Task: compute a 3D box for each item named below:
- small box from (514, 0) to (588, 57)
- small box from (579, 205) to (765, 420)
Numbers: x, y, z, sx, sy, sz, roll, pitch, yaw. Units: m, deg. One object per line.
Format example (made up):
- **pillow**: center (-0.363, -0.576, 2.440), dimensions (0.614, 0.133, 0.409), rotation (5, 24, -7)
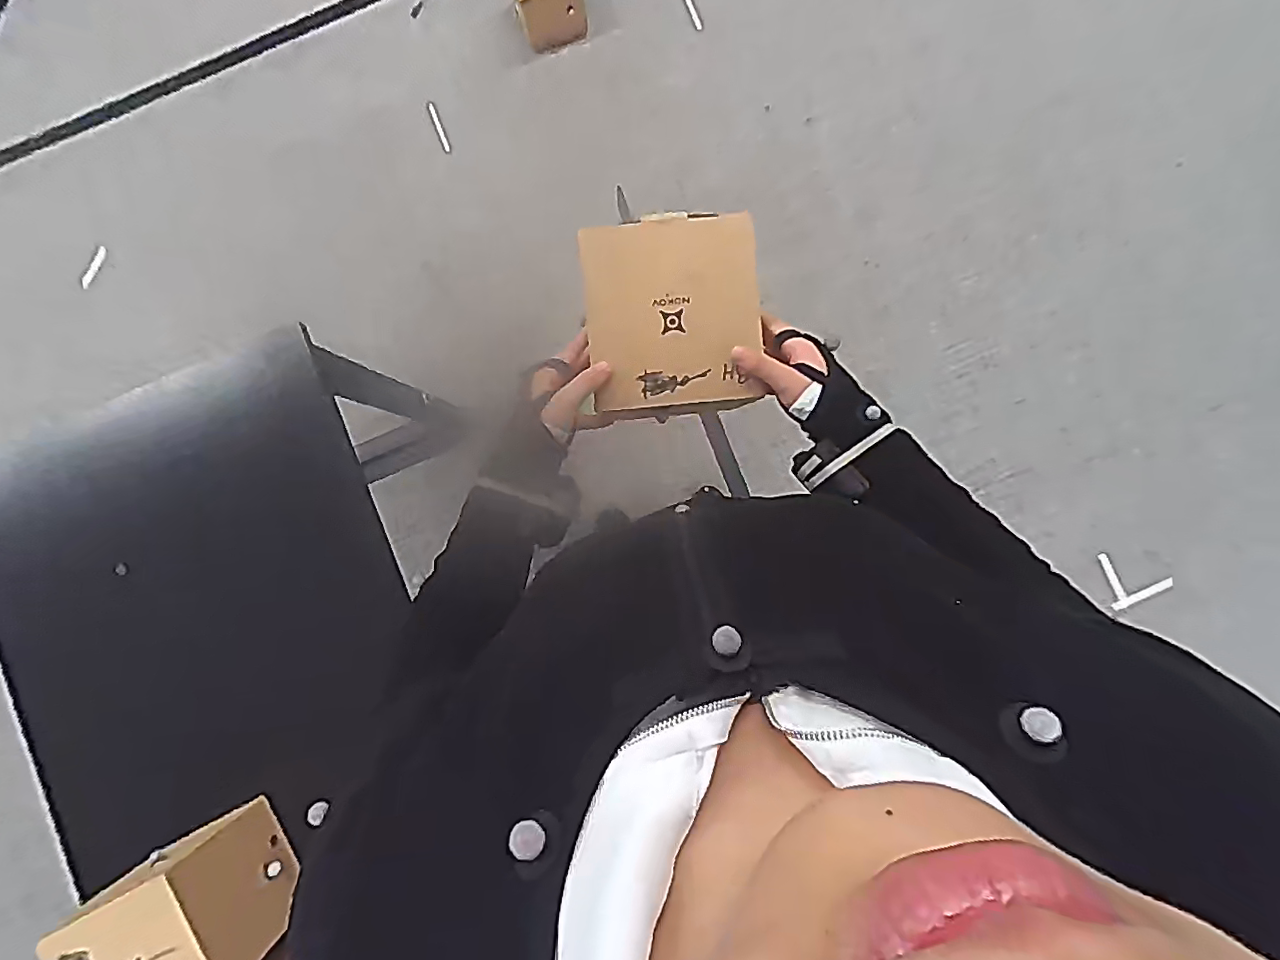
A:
- **small box**: center (-0.252, -1.331, 1.488), dimensions (0.179, 0.176, 0.168), rotation (-23, 87, 2)
- **small box**: center (0.030, -0.165, 0.586), dimensions (0.168, 0.176, 0.179), rotation (-6, 92, 1)
